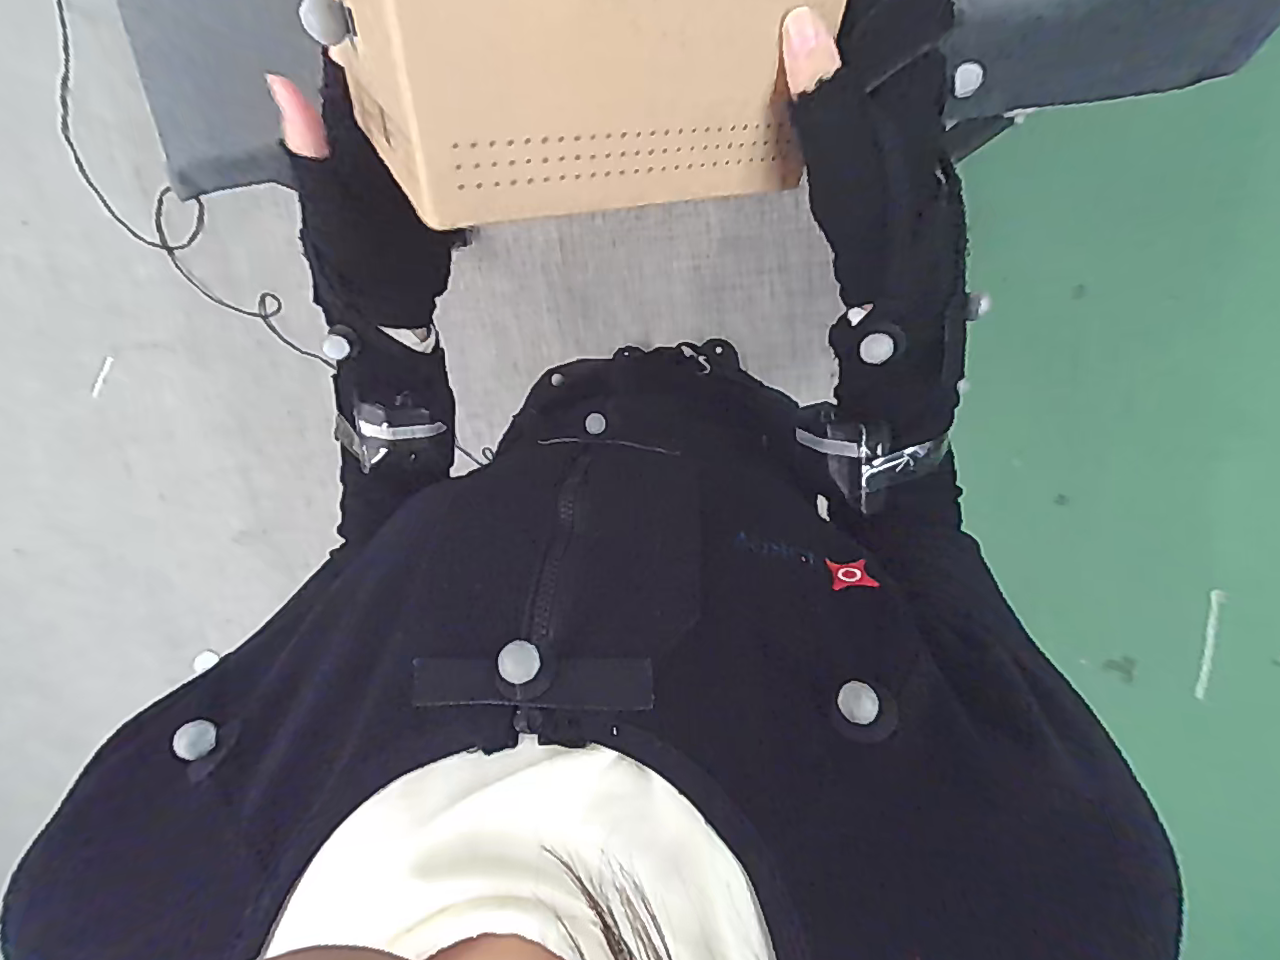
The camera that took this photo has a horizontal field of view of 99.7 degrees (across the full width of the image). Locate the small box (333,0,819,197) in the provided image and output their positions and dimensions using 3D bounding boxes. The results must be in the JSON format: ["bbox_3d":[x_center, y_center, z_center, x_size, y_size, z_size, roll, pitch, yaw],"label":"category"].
[{"bbox_3d":[-0.033,-0.235,0.219,0.179,0.168,0.176,-20,140,-23],"label":"small box"}]
